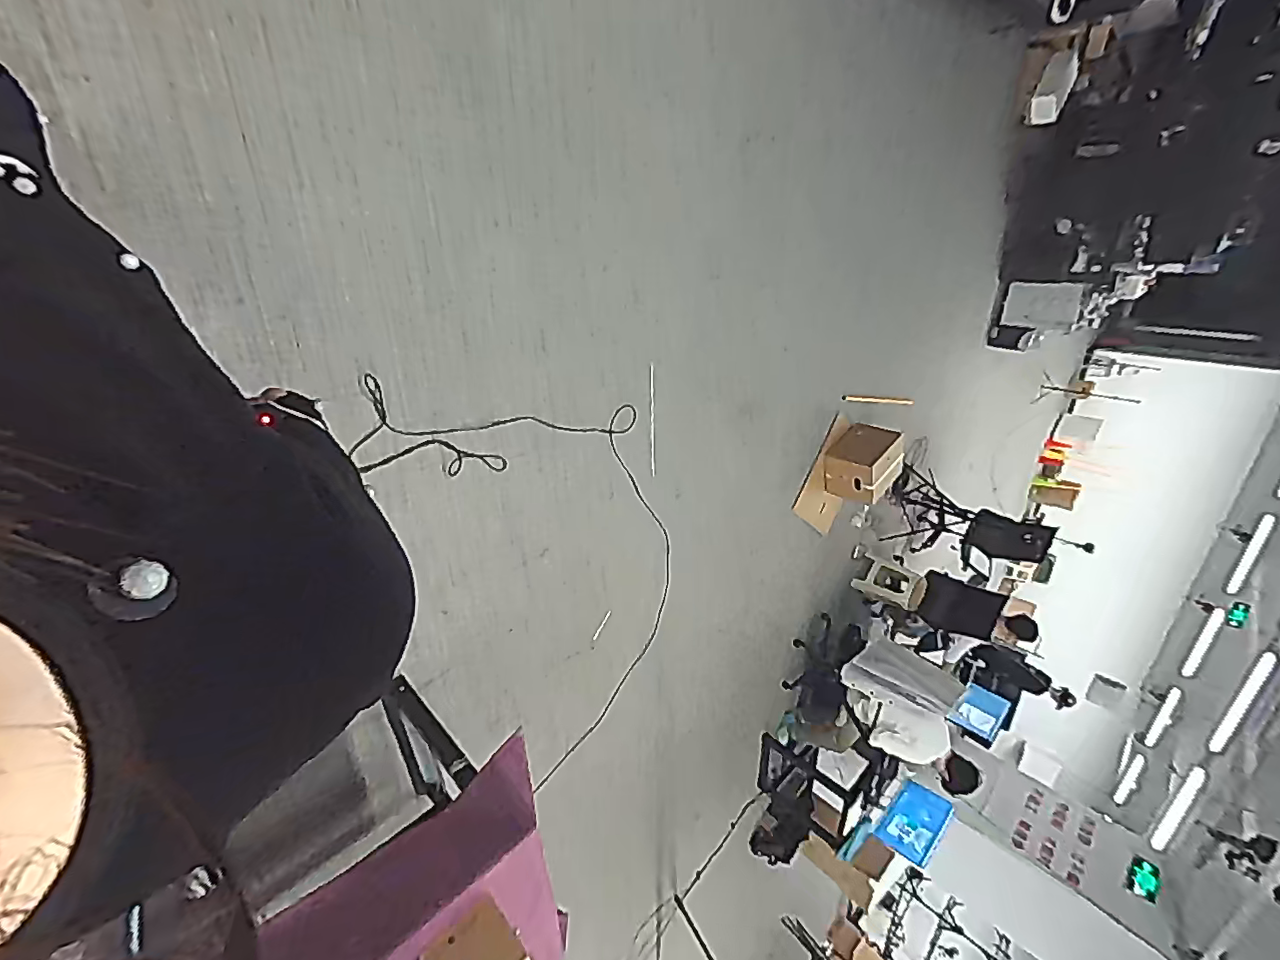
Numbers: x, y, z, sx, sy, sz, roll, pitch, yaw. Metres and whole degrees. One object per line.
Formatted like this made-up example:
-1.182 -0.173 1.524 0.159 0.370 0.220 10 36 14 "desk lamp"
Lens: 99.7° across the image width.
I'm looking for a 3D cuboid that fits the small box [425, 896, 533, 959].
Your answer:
-0.337 1.050 1.159 0.168 0.176 0.179 -27 126 -36 "small box"
